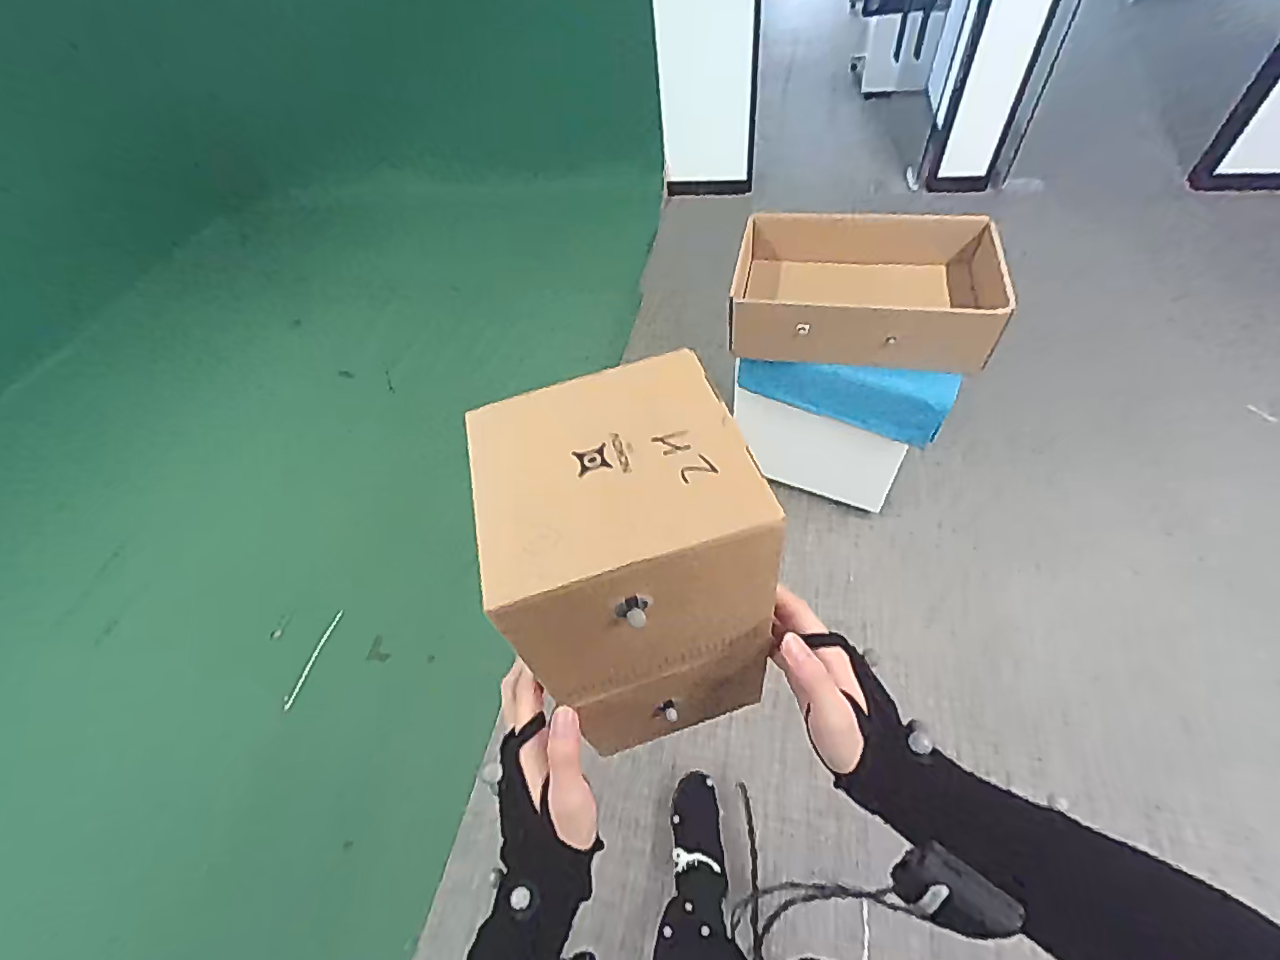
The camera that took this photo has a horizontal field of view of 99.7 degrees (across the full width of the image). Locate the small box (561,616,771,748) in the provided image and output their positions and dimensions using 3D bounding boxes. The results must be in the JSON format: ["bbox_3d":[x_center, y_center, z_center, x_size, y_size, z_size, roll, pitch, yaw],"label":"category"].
[{"bbox_3d":[0.012,0.140,0.538,0.179,0.176,0.168,-18,50,-4],"label":"small box"}]

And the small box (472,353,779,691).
[{"bbox_3d":[-0.010,0.037,0.411,0.179,0.176,0.168,-16,51,-4],"label":"small box"}]
